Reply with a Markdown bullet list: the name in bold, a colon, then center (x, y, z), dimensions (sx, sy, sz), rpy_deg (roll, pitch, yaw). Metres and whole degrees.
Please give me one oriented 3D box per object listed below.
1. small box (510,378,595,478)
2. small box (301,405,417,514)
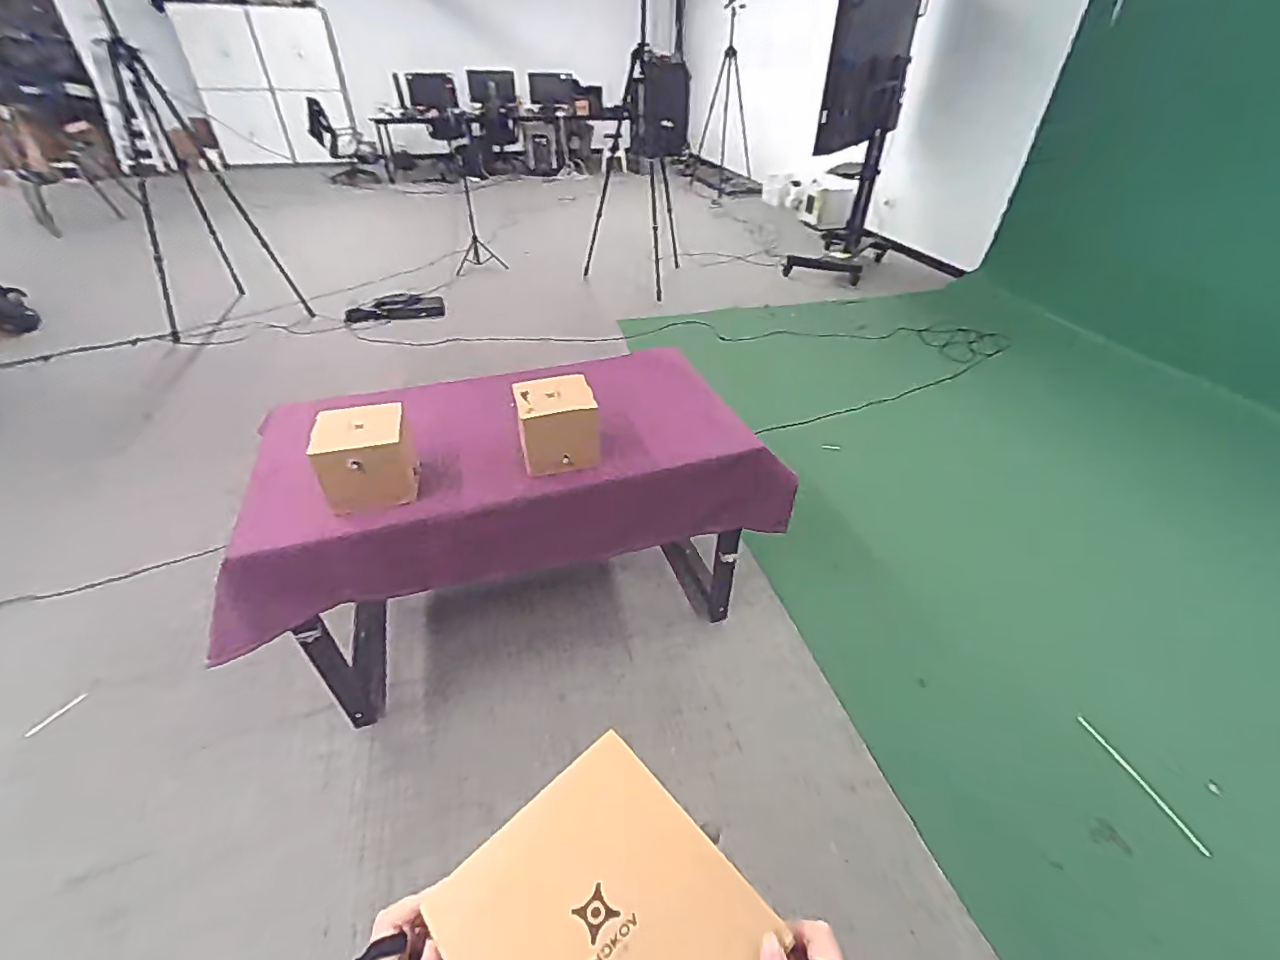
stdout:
- **small box**: center (-0.209, -0.125, 1.302), dimensions (0.179, 0.176, 0.168), rpy_deg (-10, 40, -14)
- **small box**: center (-0.607, -0.043, 1.189), dimensions (0.179, 0.176, 0.168), rpy_deg (-9, 40, -13)
